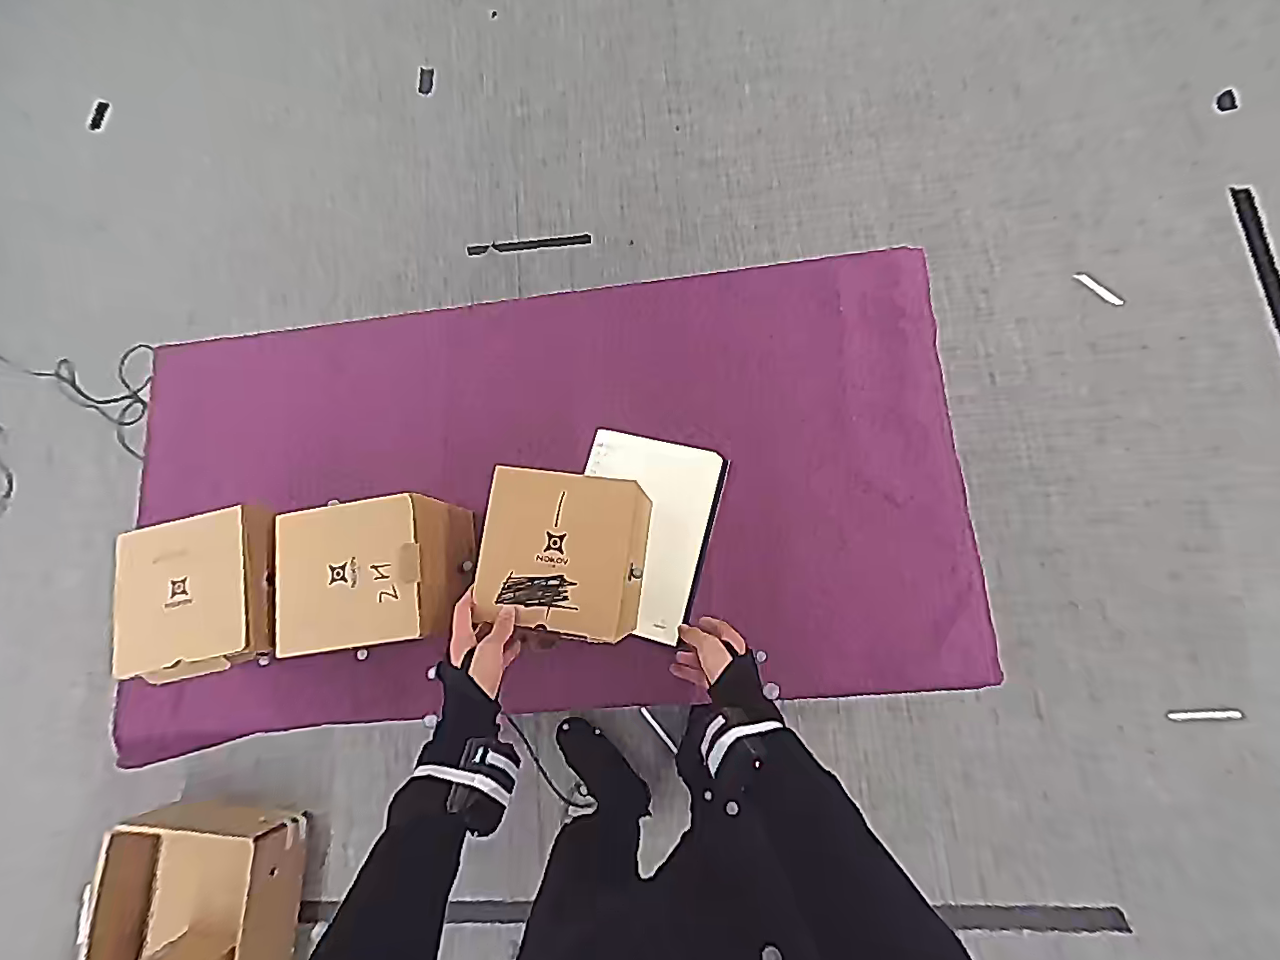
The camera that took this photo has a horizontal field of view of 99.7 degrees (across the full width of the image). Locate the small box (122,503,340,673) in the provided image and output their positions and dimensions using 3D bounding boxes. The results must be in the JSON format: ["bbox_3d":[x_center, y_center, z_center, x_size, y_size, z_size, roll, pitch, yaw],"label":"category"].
[{"bbox_3d":[-0.526,0.140,0.718,0.168,0.176,0.179,-12,77,4],"label":"small box"}]

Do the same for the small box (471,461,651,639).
[{"bbox_3d":[-0.083,0.086,0.666,0.168,0.176,0.179,6,80,8],"label":"small box"}]
